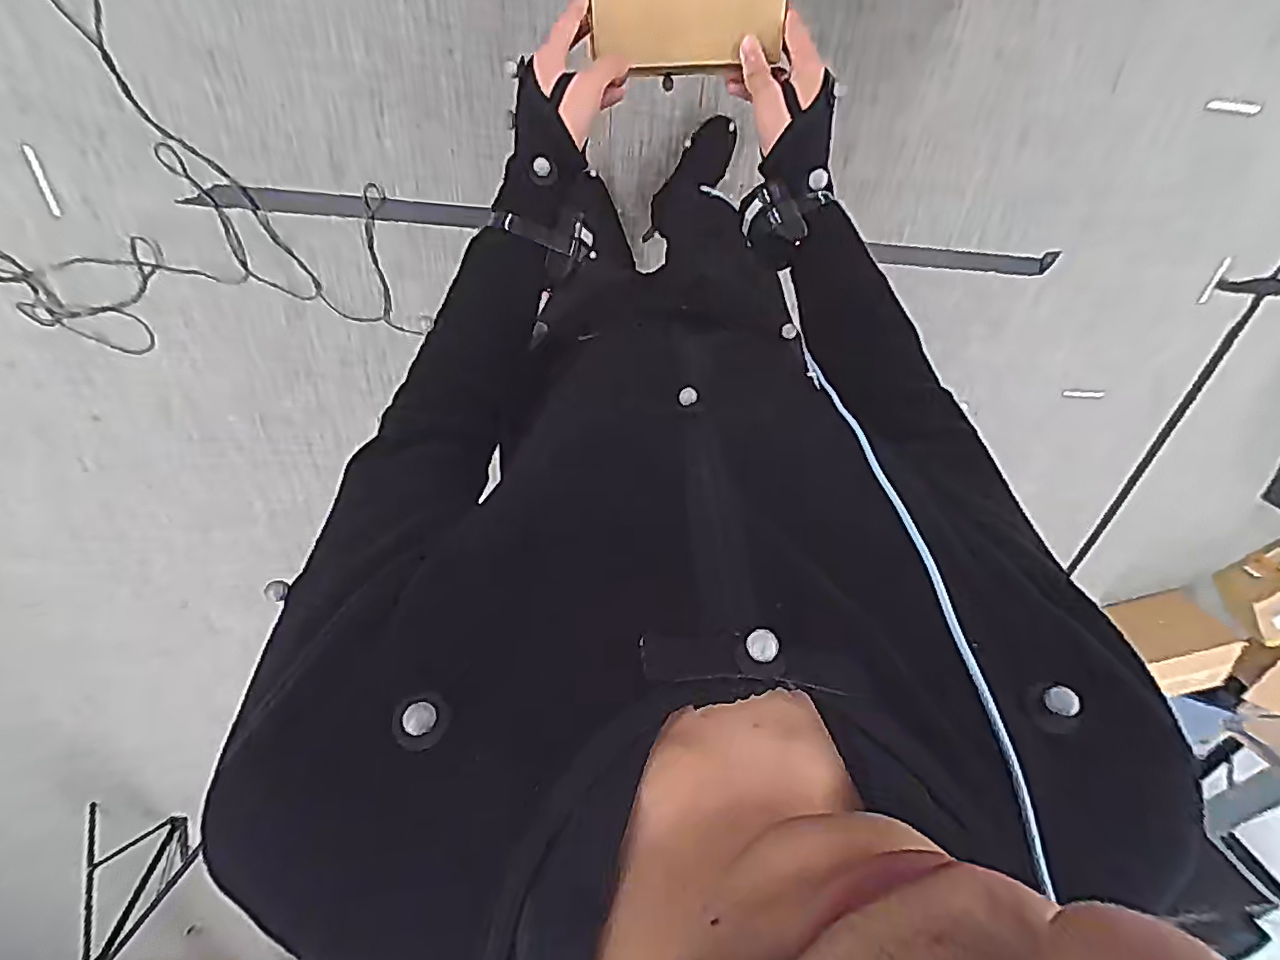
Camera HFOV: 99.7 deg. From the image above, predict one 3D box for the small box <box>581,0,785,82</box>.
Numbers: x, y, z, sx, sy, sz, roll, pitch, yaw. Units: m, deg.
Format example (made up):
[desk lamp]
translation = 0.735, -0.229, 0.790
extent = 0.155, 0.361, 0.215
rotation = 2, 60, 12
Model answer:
[small box]
translation = 0.031, -0.469, 0.487
extent = 0.168, 0.176, 0.179
rotation = -5, 124, -4
